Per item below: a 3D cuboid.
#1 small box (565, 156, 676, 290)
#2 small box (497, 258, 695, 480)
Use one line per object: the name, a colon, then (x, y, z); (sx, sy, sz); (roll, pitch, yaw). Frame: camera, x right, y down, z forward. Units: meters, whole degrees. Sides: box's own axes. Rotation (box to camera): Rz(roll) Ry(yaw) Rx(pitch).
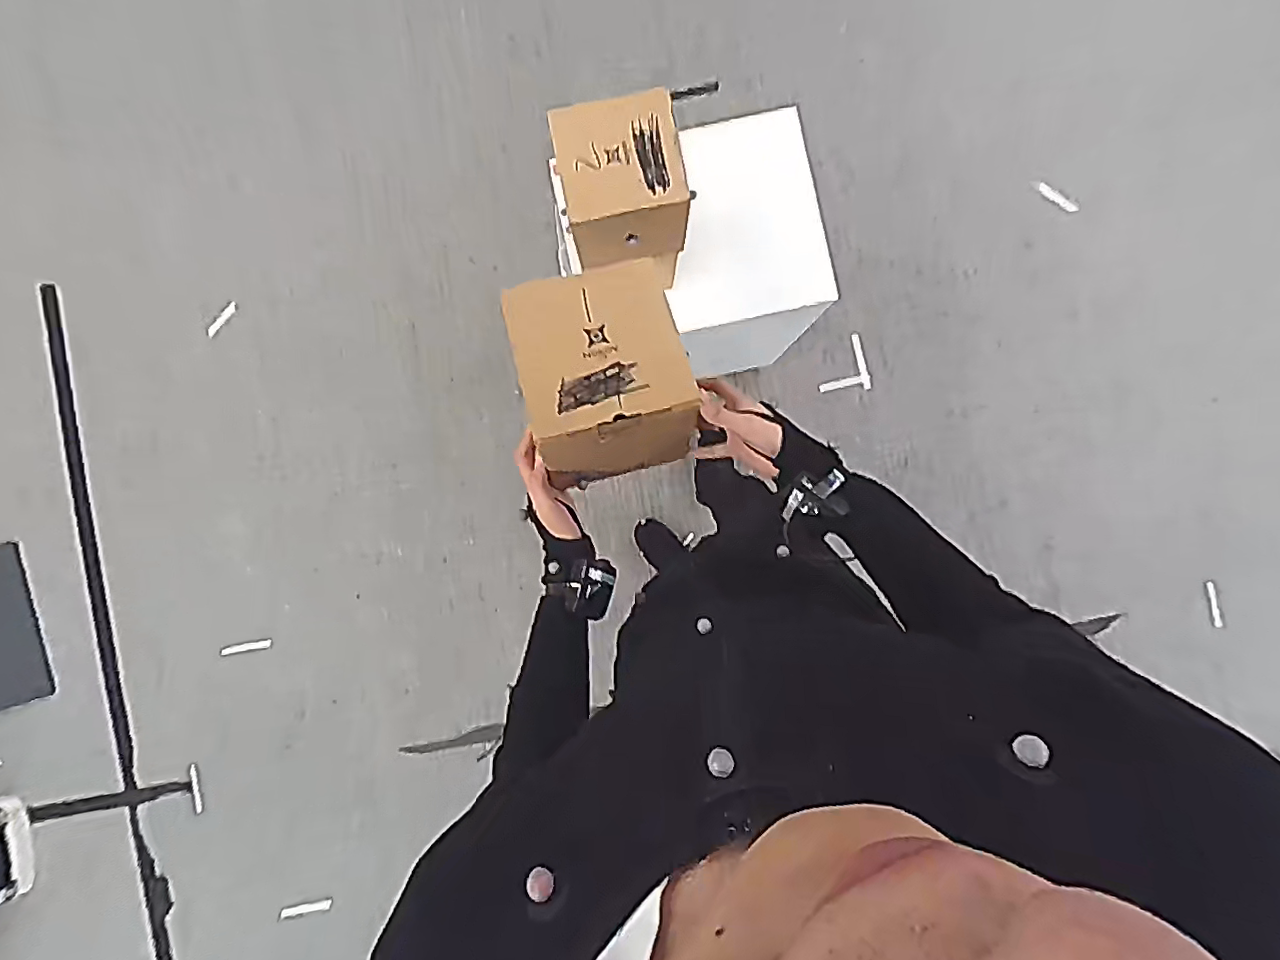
small box: (-0.032, -0.447, 0.992); (0.168, 0.176, 0.179); (-11, 88, 0)
small box: (-0.046, -0.110, 0.610); (0.168, 0.176, 0.179); (-15, 74, -6)
